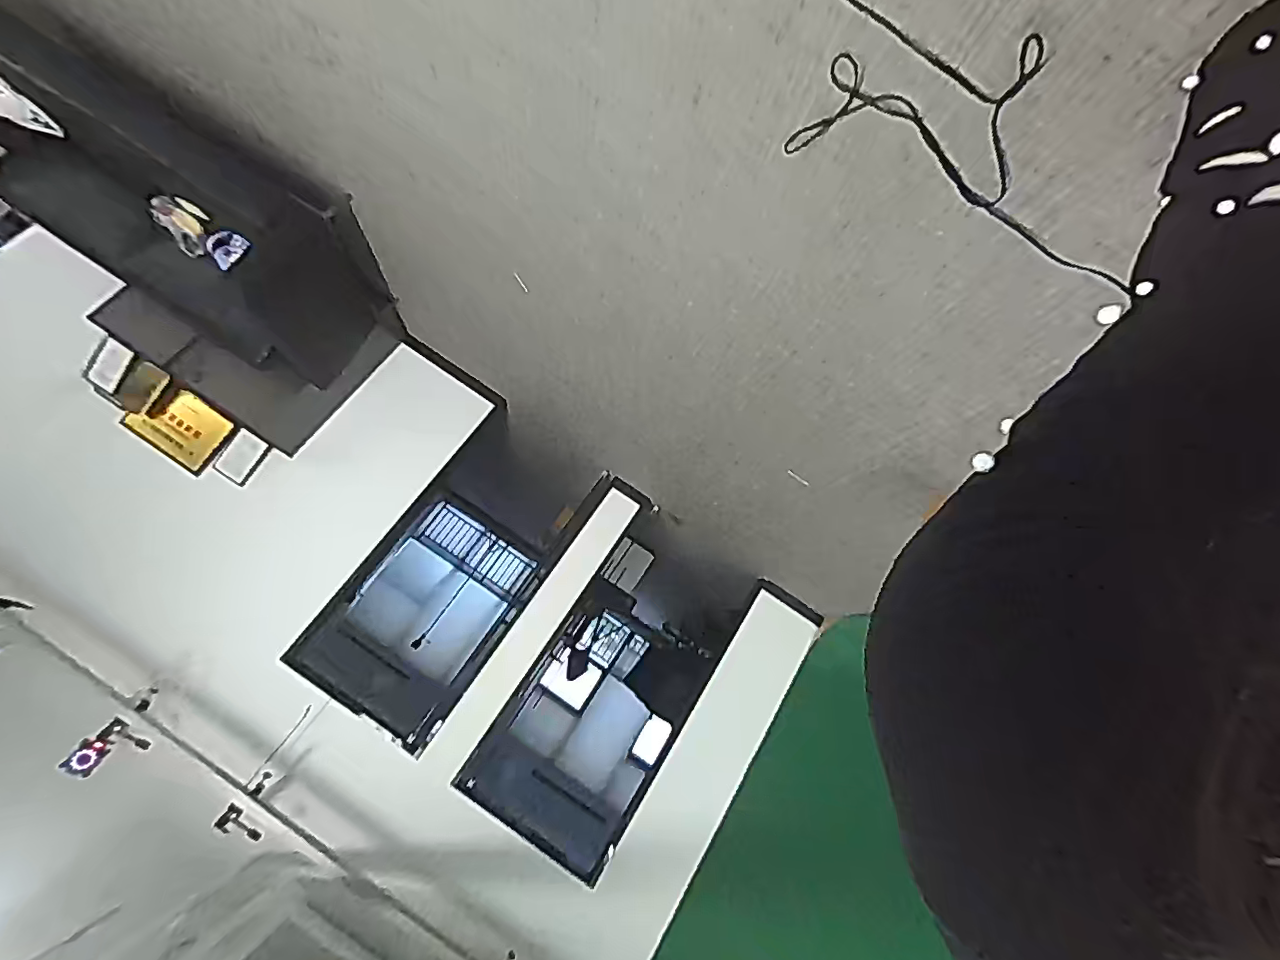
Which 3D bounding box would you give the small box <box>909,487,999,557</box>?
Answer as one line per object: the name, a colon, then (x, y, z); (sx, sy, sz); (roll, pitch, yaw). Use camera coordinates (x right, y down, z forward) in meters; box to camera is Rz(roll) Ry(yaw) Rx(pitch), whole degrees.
small box: (1.026, 0.145, 1.758); (0.168, 0.176, 0.179); (36, 163, 3)
